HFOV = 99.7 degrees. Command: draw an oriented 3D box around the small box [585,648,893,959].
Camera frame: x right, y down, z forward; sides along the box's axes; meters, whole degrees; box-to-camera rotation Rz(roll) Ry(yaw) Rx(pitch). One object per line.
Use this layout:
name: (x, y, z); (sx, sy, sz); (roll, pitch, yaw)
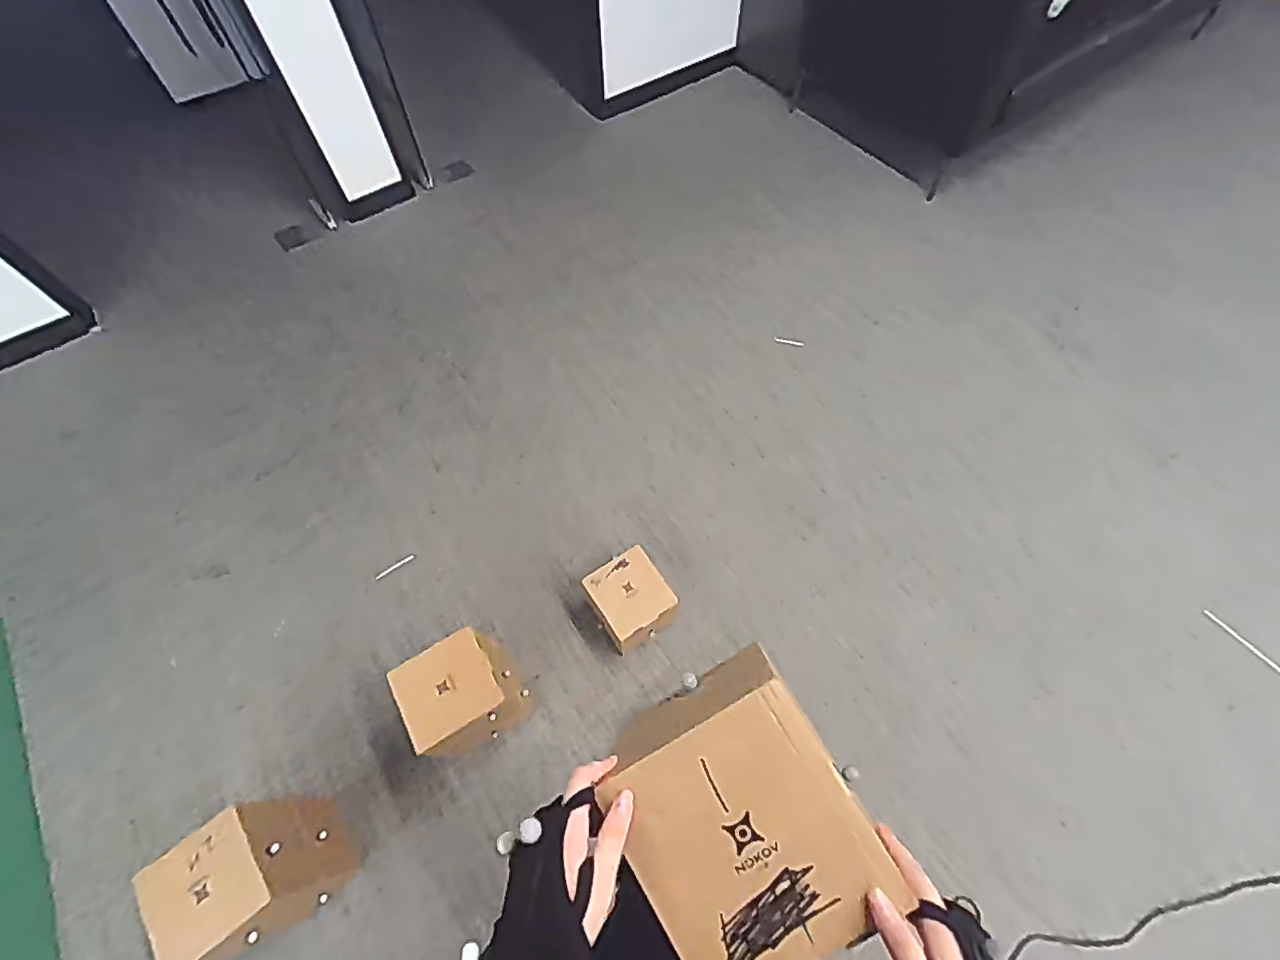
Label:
small box: (0.080, 0.273, 0.476); (0.168, 0.176, 0.179); (-33, 78, 3)

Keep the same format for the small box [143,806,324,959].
small box: (-0.697, 0.703, 0.946); (0.168, 0.176, 0.179); (-35, 66, -18)

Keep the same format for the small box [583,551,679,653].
small box: (-0.021, 0.310, 1.336); (0.168, 0.176, 0.179); (-31, 66, -15)

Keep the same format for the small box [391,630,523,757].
small box: (-0.360, 0.435, 1.087); (0.179, 0.176, 0.168); (-30, 64, -14)

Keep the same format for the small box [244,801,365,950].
small box: (-0.695, 0.779, 1.092); (0.168, 0.176, 0.179); (-34, 66, -17)
